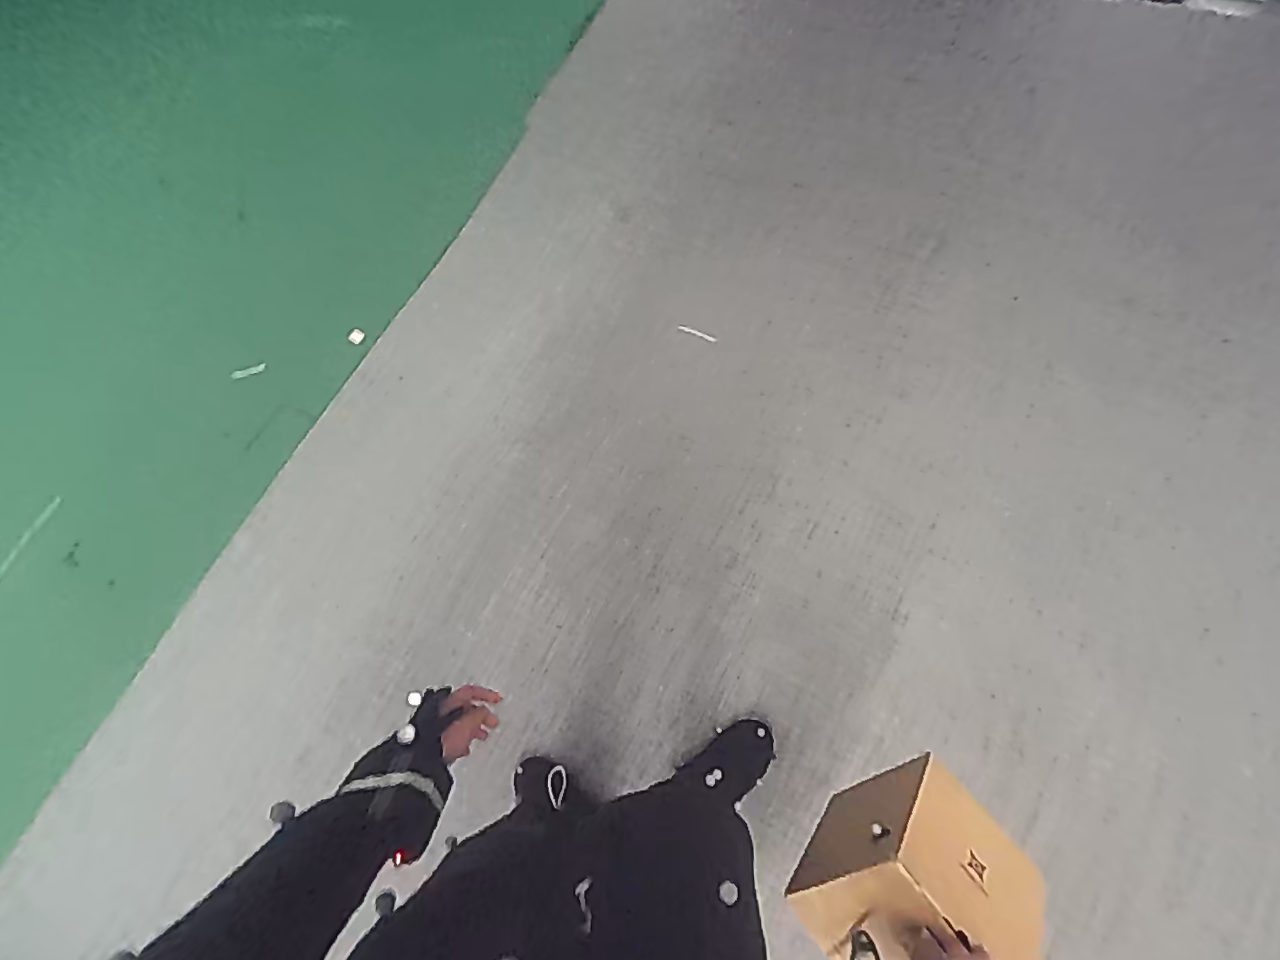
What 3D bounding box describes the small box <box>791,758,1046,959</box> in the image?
[{"bbox_3d":[0.297,0.450,0.590,0.168,0.179,0.176,50,128,16],"label":"small box"}]
